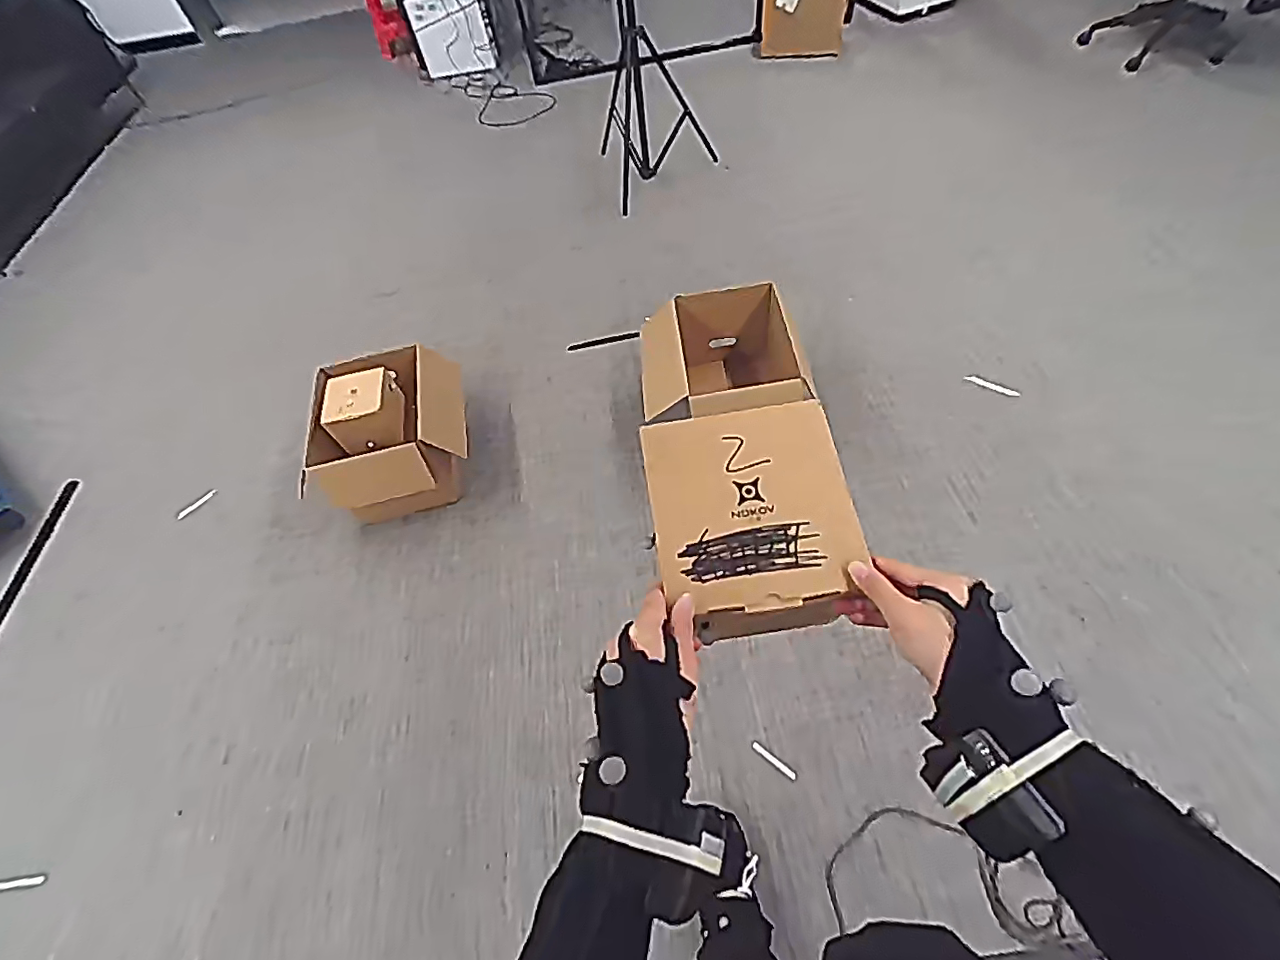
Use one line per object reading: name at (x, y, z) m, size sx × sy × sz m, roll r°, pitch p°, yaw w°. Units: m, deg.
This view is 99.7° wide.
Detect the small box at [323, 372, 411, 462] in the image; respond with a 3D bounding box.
small box at (-0.785, -0.180, 1.574) m, size 0.168 × 0.176 × 0.179 m, roll -14°, pitch 56°, yaw -1°
